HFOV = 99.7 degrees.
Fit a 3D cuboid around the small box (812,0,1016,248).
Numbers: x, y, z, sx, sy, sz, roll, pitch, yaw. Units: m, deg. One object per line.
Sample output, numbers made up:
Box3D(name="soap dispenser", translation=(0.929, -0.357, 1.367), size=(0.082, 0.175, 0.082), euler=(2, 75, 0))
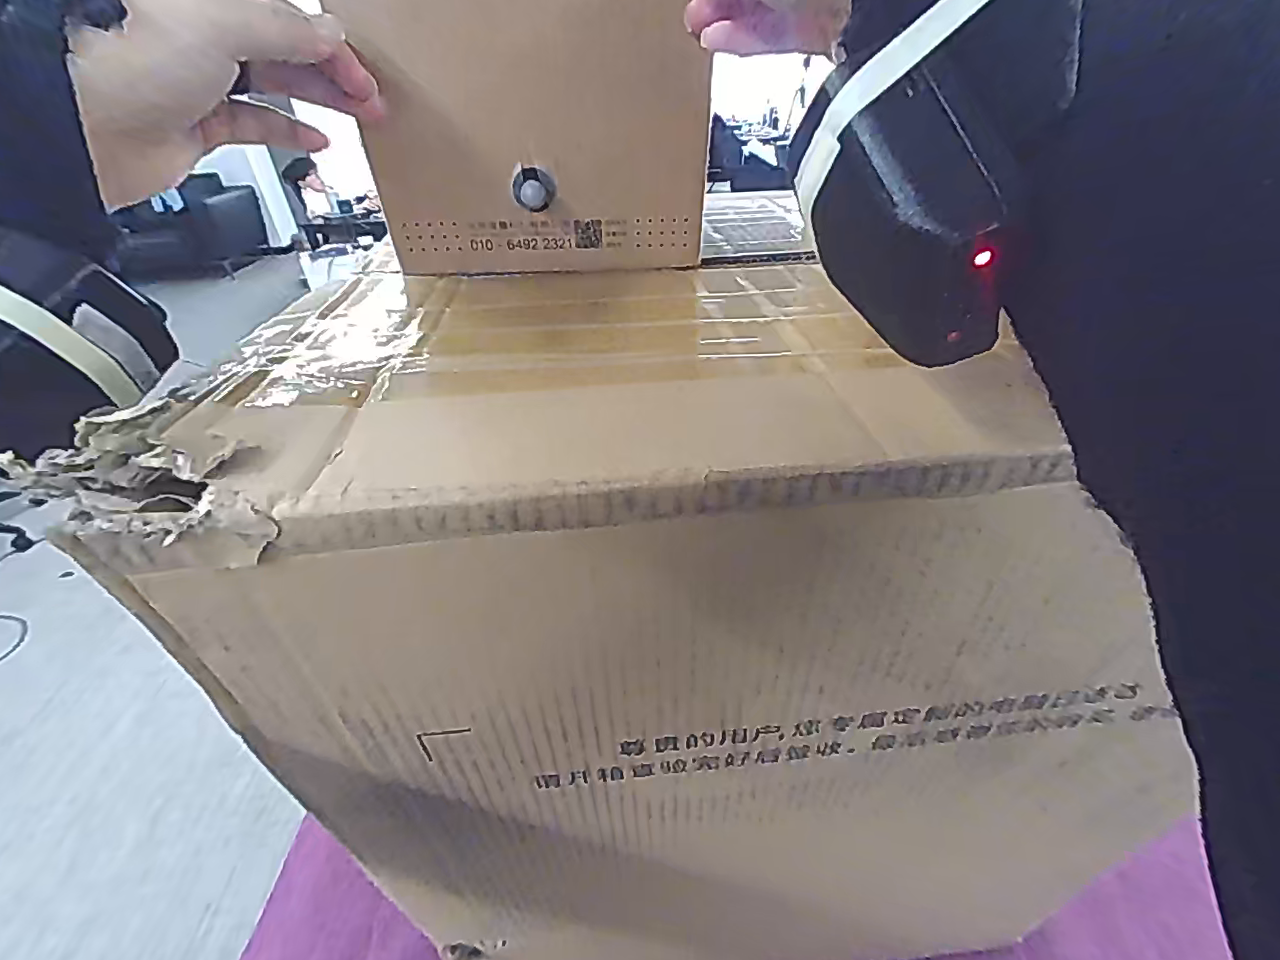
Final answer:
Box3D(name="small box", translation=(0.226, -0.262, 0.360), size=(0.168, 0.176, 0.179), euler=(-4, 37, 0))
